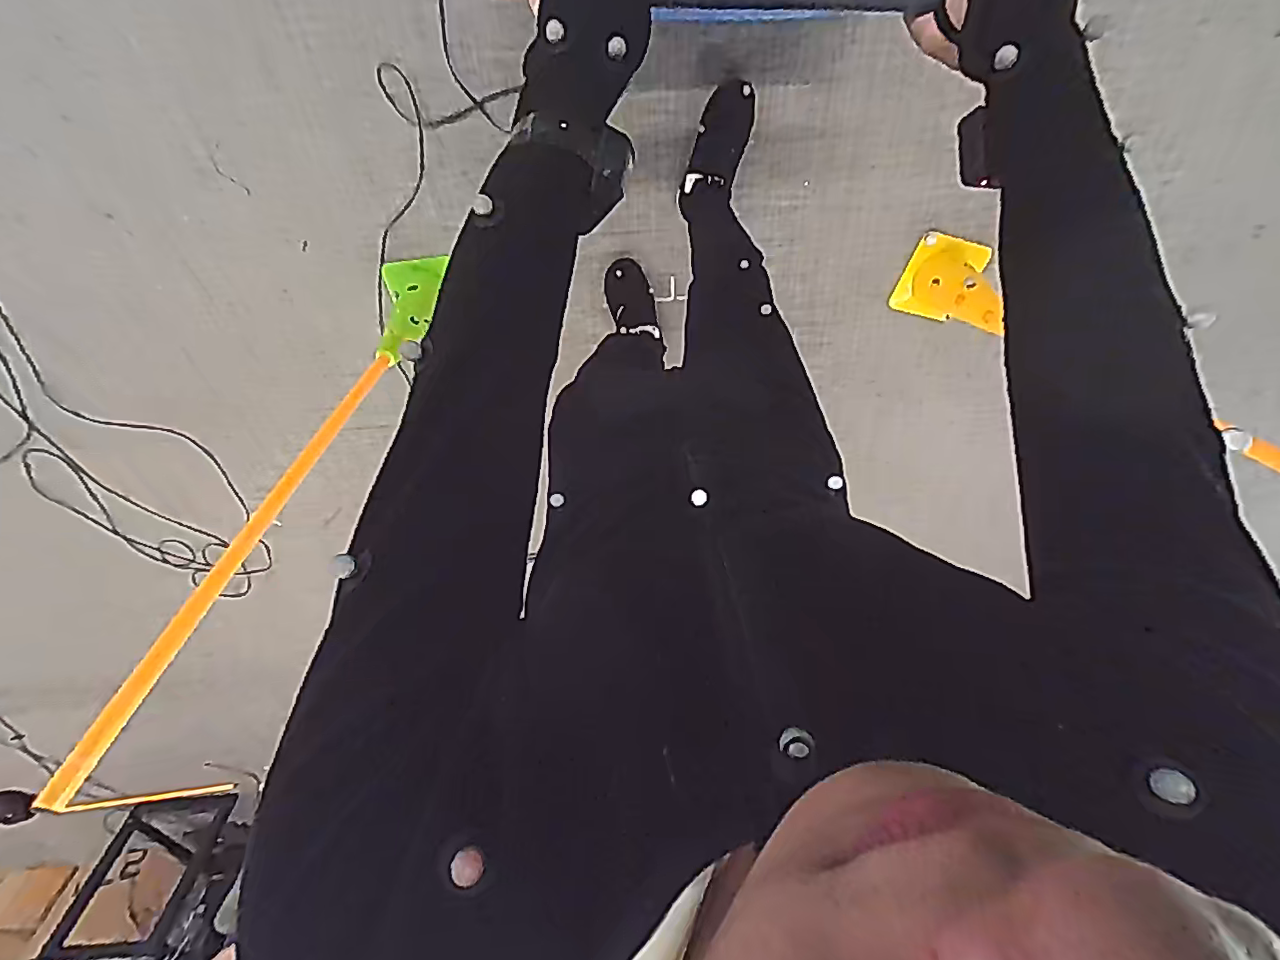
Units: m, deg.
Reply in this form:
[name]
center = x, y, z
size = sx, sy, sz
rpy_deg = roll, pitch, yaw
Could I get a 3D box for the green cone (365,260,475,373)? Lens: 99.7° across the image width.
[green cone]
center = -0.545, -0.353, 1.259
size = 0.202, 0.368, 0.200
rpy_deg = -6, 127, 5
